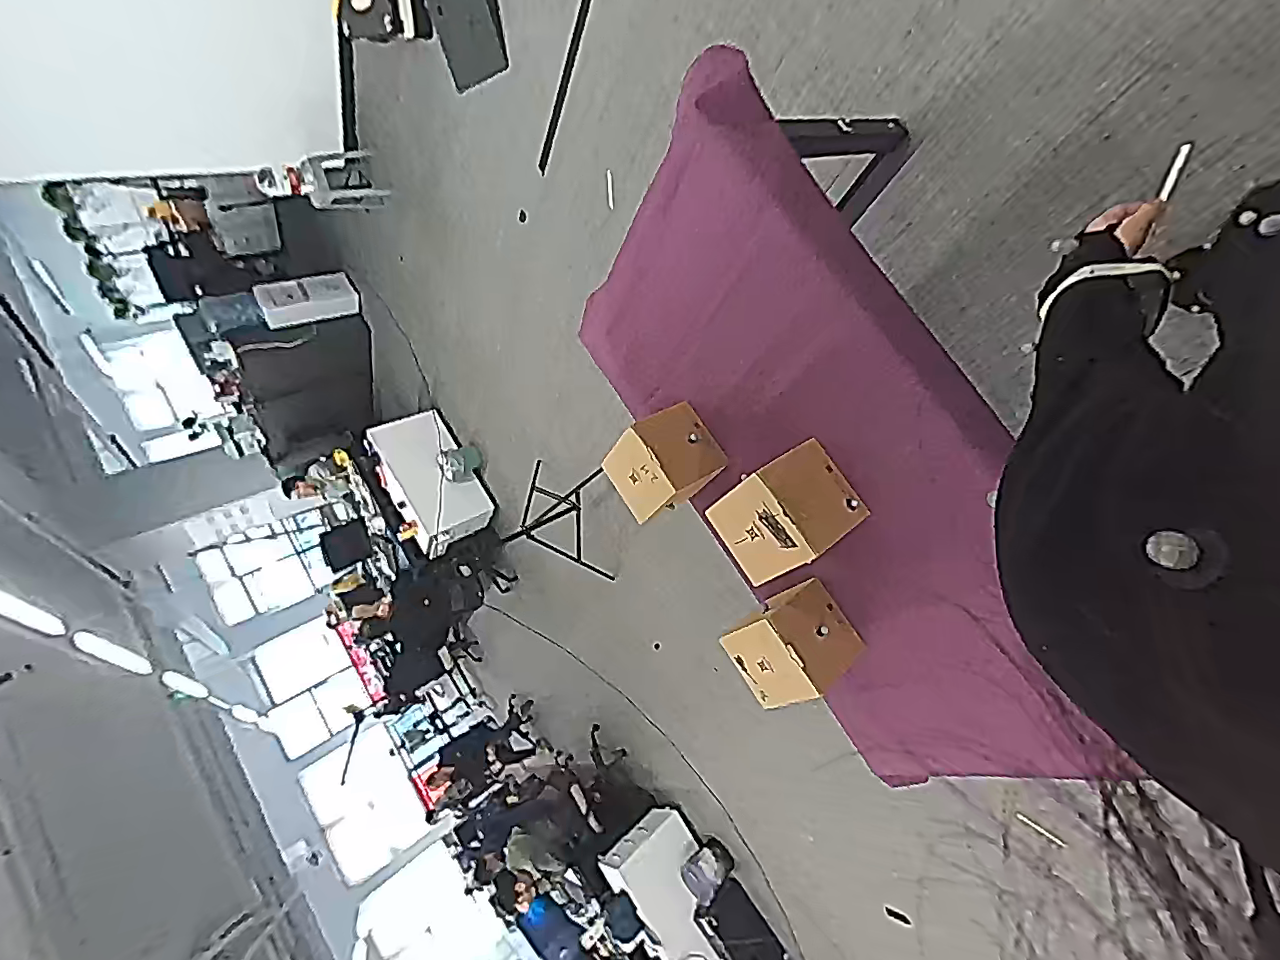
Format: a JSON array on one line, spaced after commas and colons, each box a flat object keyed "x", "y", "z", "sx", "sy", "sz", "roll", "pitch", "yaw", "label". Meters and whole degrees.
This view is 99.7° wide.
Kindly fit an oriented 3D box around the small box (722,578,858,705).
[{"x": 0.304, "y": 0.318, "z": 1.078, "sx": 0.168, "sy": 0.176, "sz": 0.179, "roll": 56, "pitch": 144, "yaw": 11, "label": "small box"}]

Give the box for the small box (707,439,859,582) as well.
[{"x": 0.259, "y": 0.052, "z": 0.963, "sx": 0.168, "sy": 0.176, "sz": 0.179, "roll": 57, "pitch": 147, "yaw": 10, "label": "small box"}]

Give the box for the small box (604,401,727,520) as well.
[{"x": 0.055, "y": -0.042, "z": 1.171, "sx": 0.168, "sy": 0.176, "sz": 0.179, "roll": 56, "pitch": 144, "yaw": 10, "label": "small box"}]
